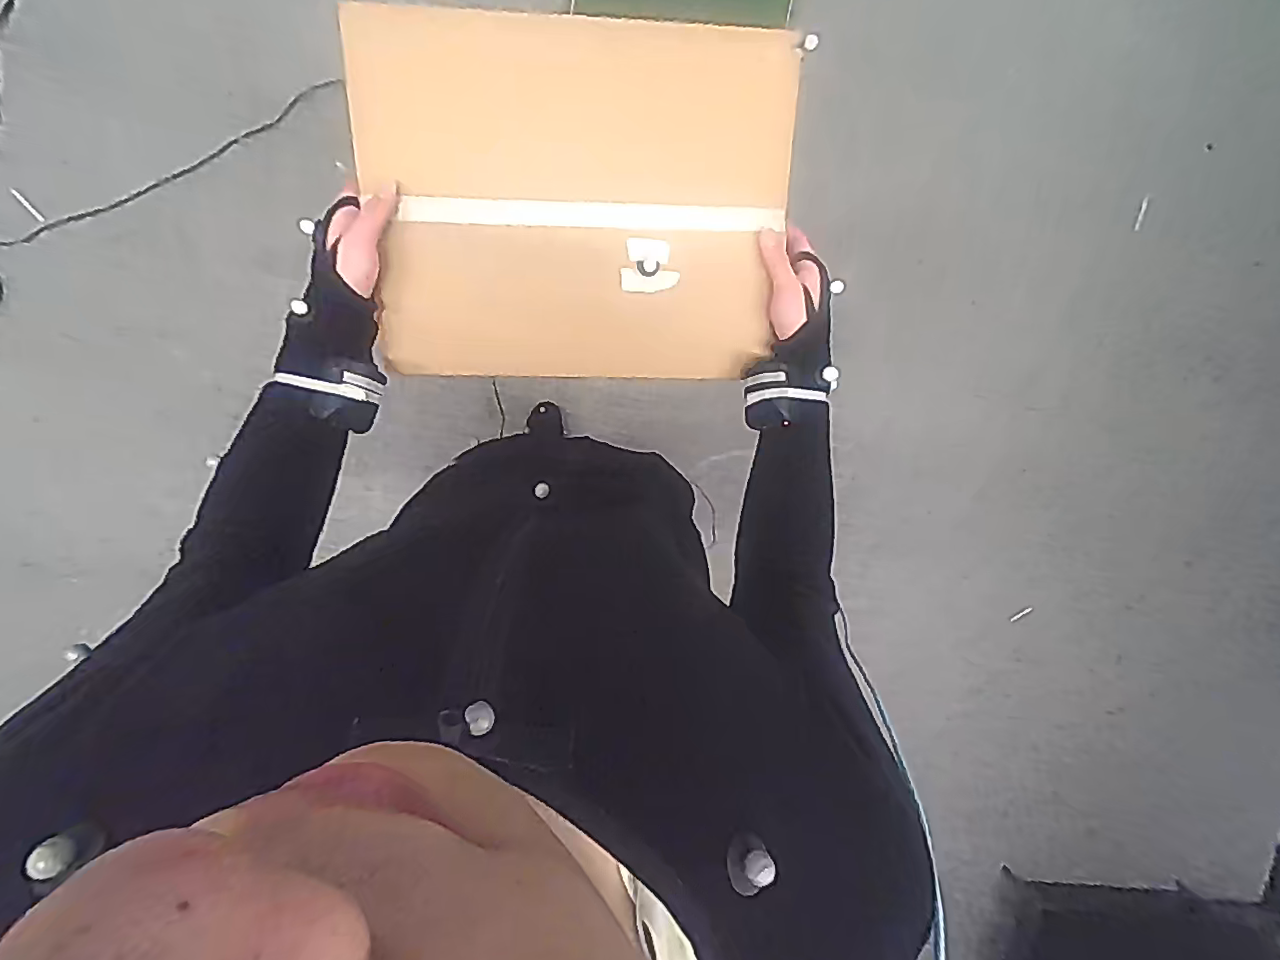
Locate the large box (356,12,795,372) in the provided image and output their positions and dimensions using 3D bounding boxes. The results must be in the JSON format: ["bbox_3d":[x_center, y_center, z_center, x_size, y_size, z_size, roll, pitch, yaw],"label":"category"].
[{"bbox_3d":[-0.068,-0.309,0.674,0.408,0.320,0.320,0,109,-5],"label":"large box"}]
